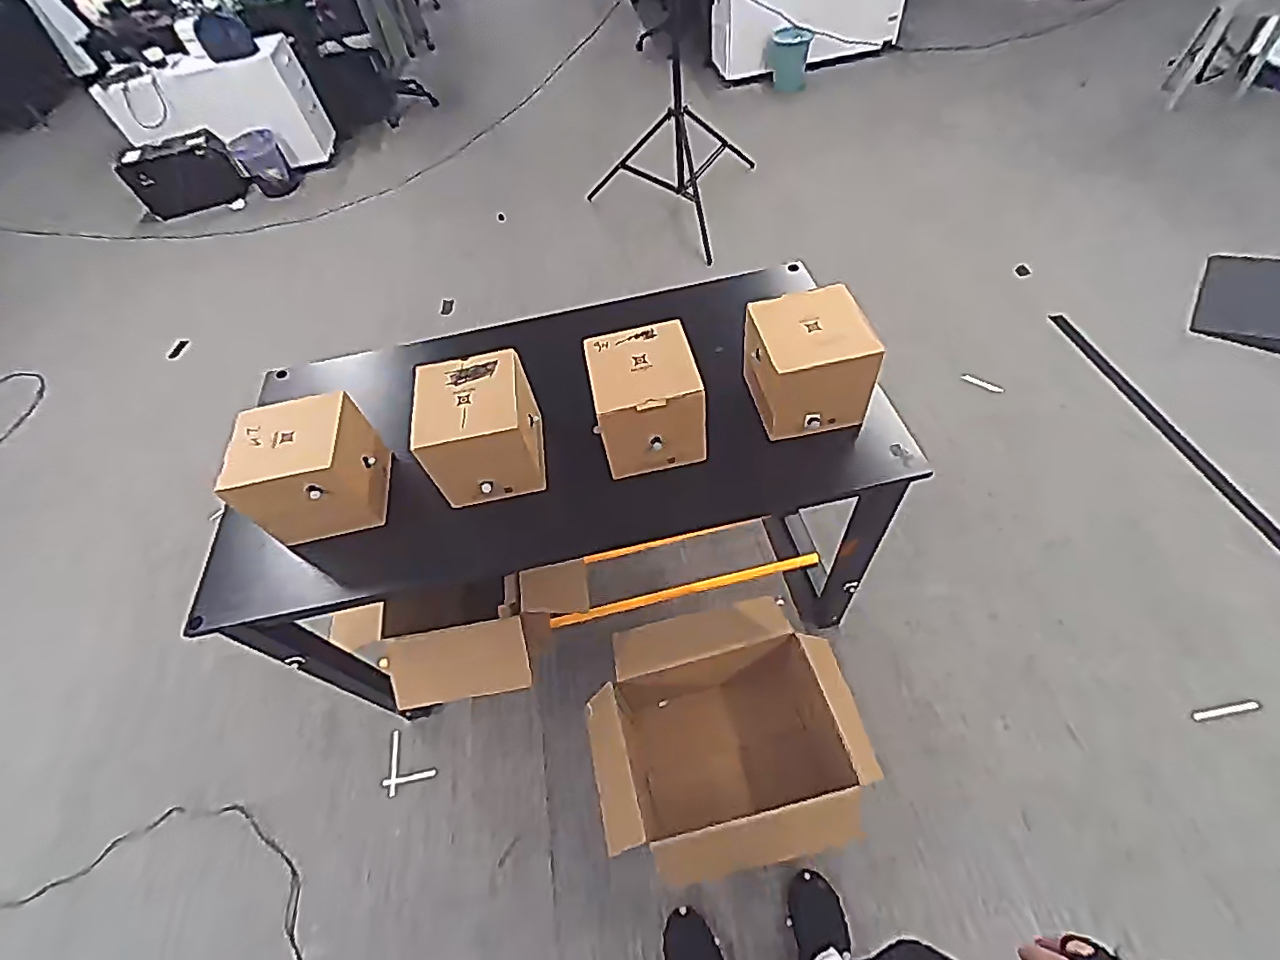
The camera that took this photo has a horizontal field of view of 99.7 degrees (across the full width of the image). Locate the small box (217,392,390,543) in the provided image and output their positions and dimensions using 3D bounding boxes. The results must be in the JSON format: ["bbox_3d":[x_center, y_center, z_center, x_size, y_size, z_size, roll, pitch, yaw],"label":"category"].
[{"bbox_3d":[-0.542,-0.016,0.903,0.179,0.176,0.168,-13,54,-1],"label":"small box"}]

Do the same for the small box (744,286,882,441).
[{"bbox_3d":[0.278,-0.193,0.917,0.168,0.176,0.179,-12,55,1],"label":"small box"}]

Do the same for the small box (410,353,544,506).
[{"bbox_3d":[-0.264,-0.082,0.913,0.168,0.176,0.179,-12,55,0],"label":"small box"}]

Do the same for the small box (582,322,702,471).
[{"bbox_3d":[0.007,-0.131,0.911,0.168,0.176,0.179,-12,55,0],"label":"small box"}]
